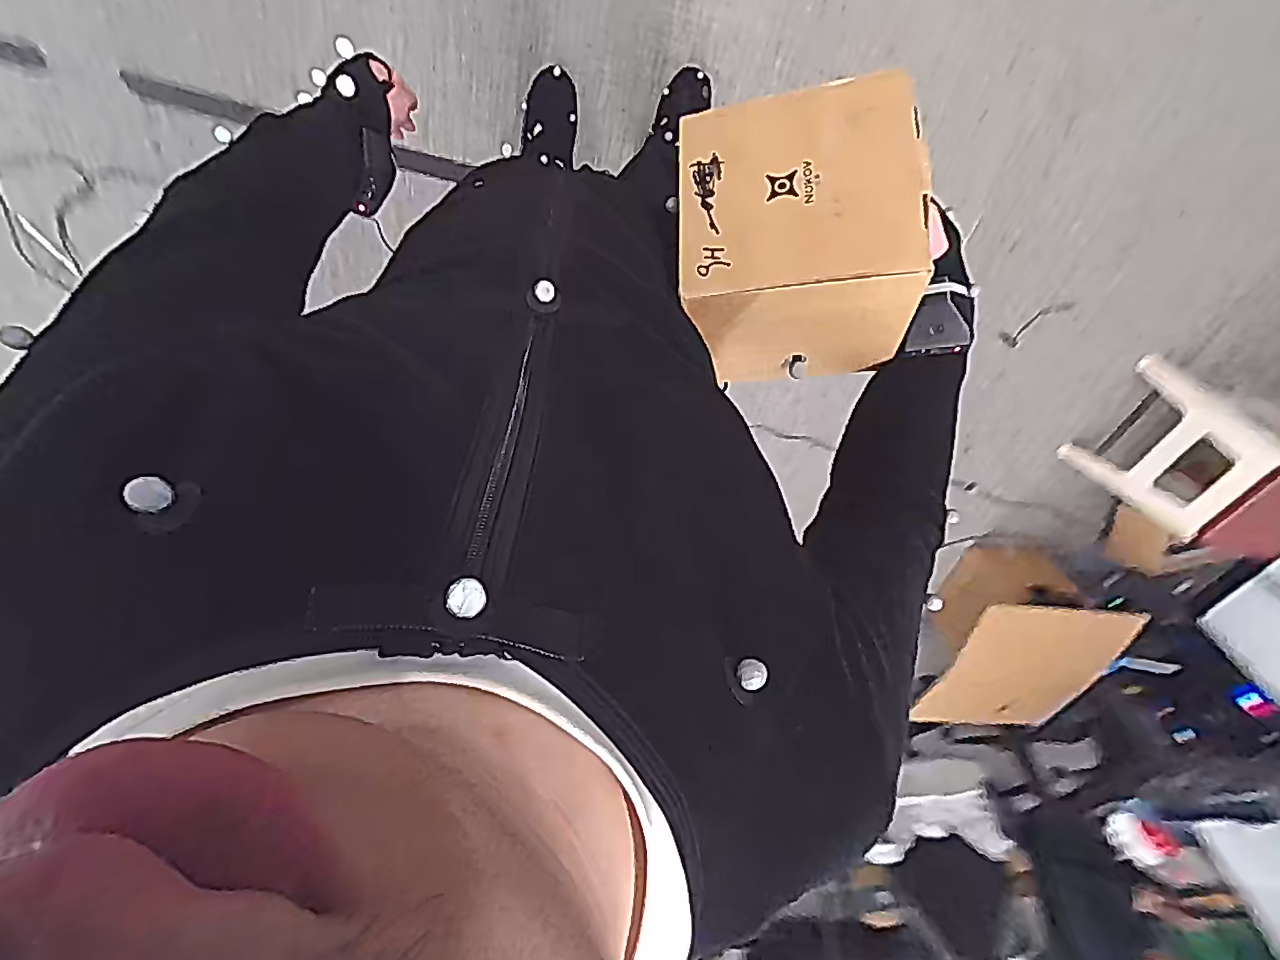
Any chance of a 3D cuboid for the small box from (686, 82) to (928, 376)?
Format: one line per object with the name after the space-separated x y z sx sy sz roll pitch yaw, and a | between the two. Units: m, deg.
0.141 -0.207 0.495 0.179 0.168 0.176 -3 167 14 | small box
